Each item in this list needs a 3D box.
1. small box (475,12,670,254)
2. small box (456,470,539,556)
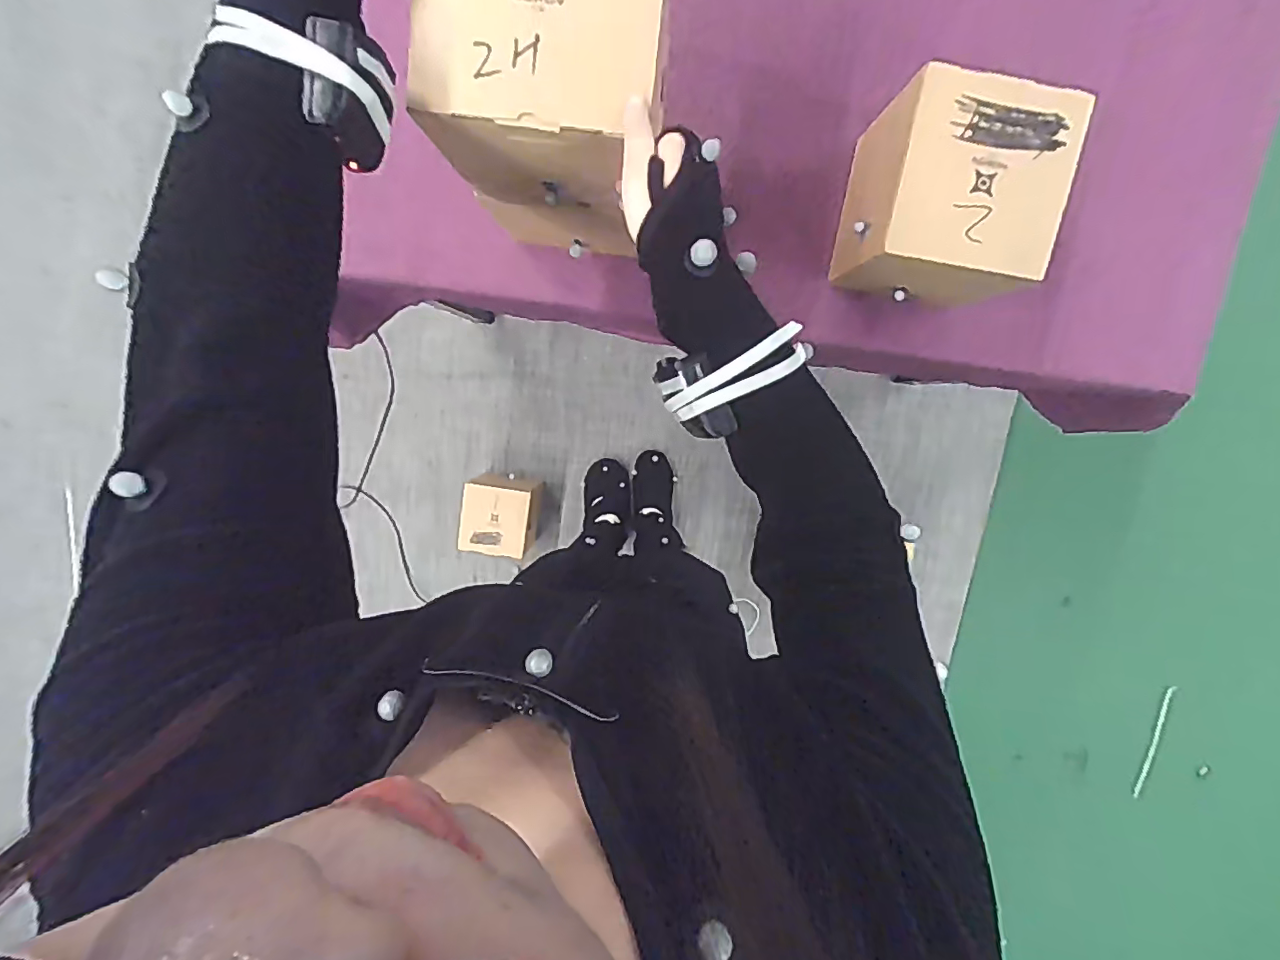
[{"bbox_3d":[-0.069,-0.360,0.598,0.179,0.176,0.168,6,99,-2],"label":"small box"},{"bbox_3d":[-0.366,0.081,1.416,0.168,0.176,0.179,9,99,-2],"label":"small box"}]
